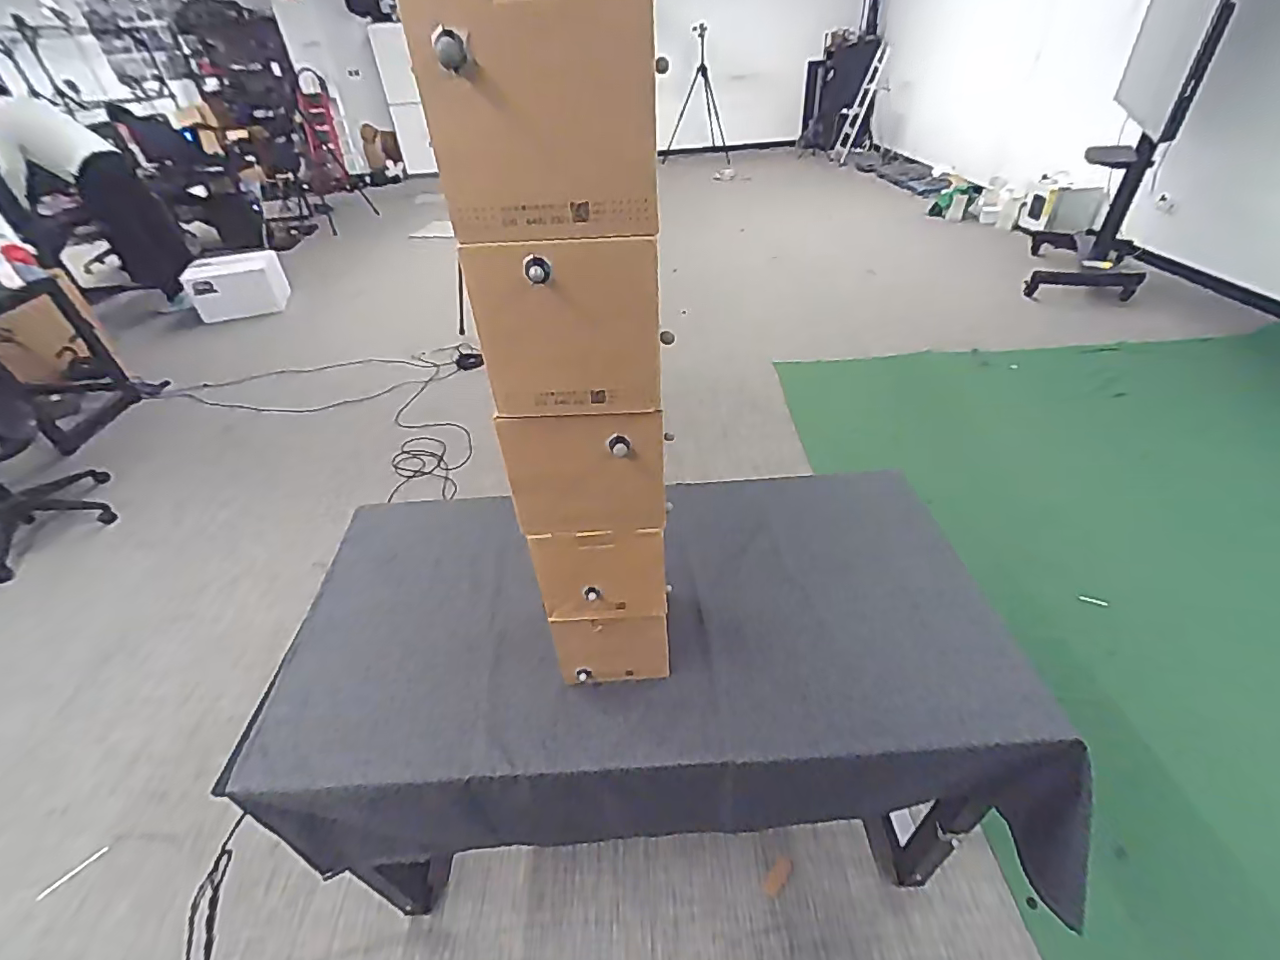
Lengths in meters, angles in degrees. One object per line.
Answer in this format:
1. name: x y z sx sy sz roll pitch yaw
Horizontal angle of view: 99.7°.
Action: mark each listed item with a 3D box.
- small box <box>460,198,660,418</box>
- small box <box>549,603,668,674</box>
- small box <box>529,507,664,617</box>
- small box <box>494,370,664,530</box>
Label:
1. small box: -0.065 -0.180 0.560 0.168 0.176 0.179 -2 39 3
2. small box: -0.044 0.197 0.872 0.168 0.176 0.179 -4 38 0
3. small box: -0.053 0.072 0.770 0.168 0.176 0.179 -4 39 1
4. small box: -0.060 -0.053 0.663 0.179 0.176 0.168 -3 39 2
